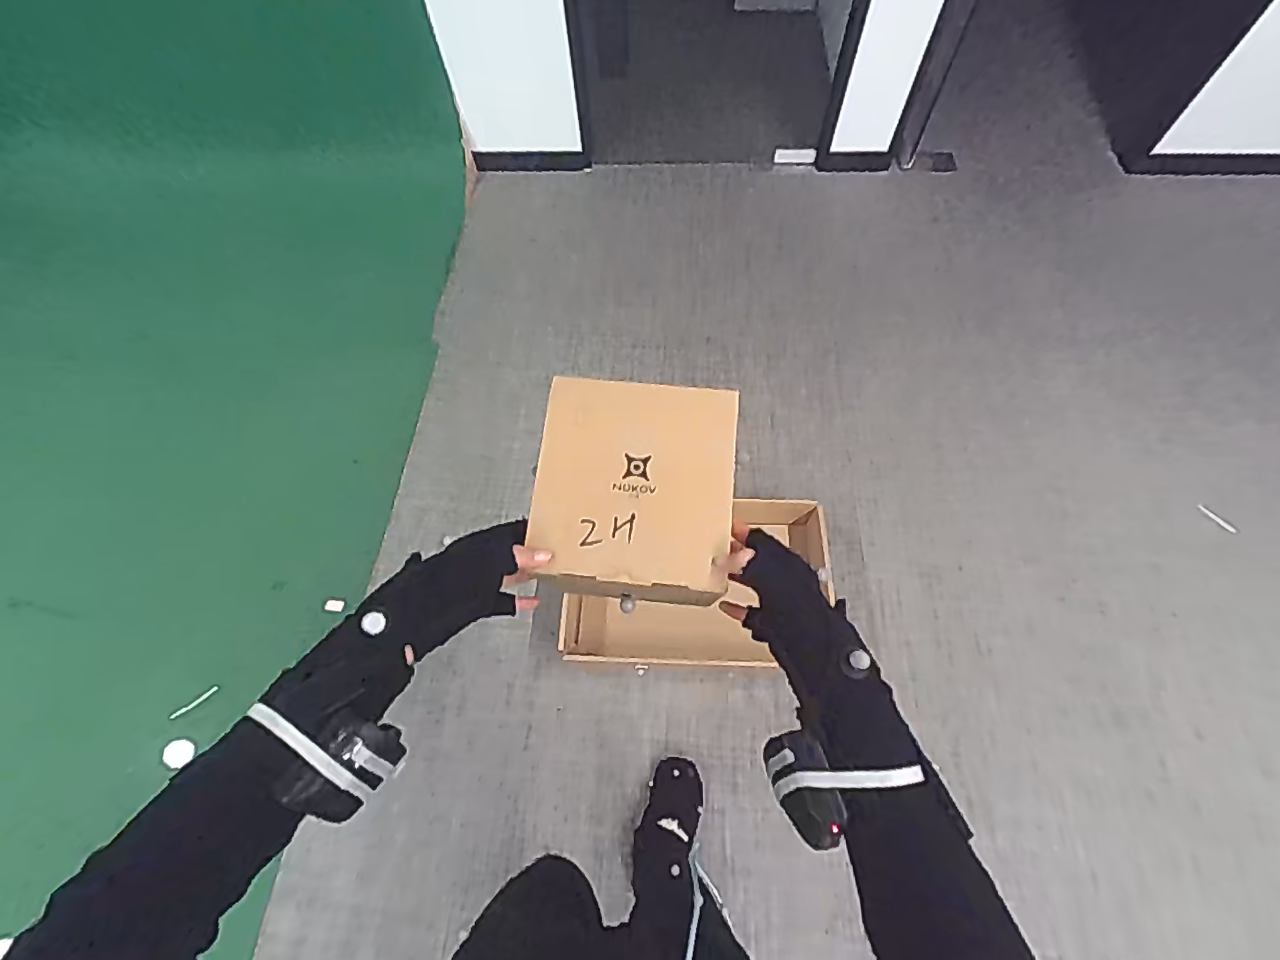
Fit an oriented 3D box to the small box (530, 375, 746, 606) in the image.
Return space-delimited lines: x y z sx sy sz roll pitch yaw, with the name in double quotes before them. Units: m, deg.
"small box" 0.003 0.020 0.526 0.168 0.176 0.179 5 74 4
